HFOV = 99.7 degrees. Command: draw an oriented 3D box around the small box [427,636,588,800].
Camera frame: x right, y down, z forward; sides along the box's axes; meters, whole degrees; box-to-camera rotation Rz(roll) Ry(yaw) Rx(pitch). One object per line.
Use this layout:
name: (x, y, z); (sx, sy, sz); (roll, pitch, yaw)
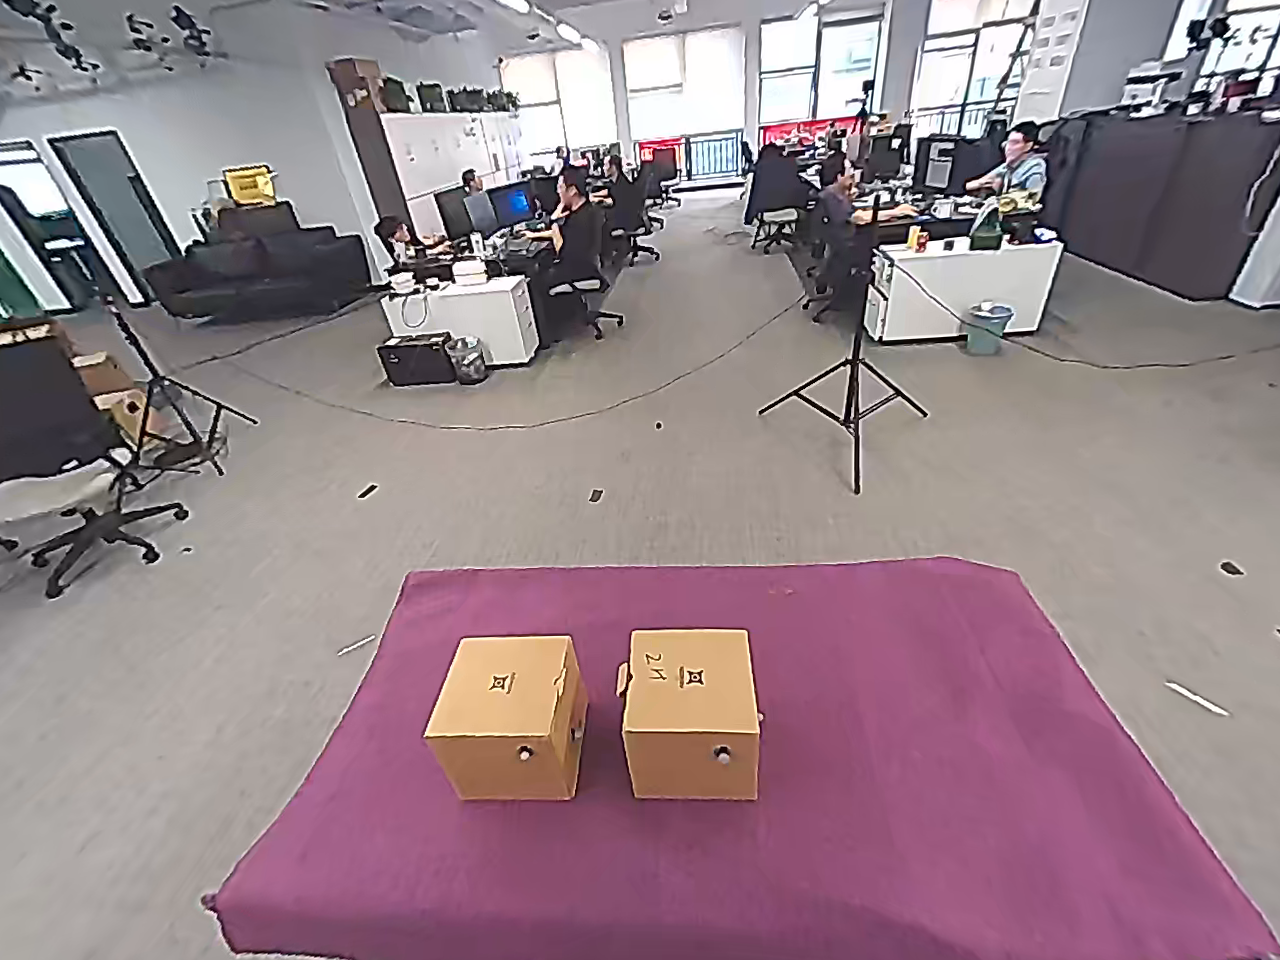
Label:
small box: (-0.185, 0.358, 0.815); (0.179, 0.176, 0.168); (-3, 34, 5)

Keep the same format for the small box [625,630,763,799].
small box: (0.080, 0.340, 0.789); (0.179, 0.176, 0.168); (-3, 33, 6)
